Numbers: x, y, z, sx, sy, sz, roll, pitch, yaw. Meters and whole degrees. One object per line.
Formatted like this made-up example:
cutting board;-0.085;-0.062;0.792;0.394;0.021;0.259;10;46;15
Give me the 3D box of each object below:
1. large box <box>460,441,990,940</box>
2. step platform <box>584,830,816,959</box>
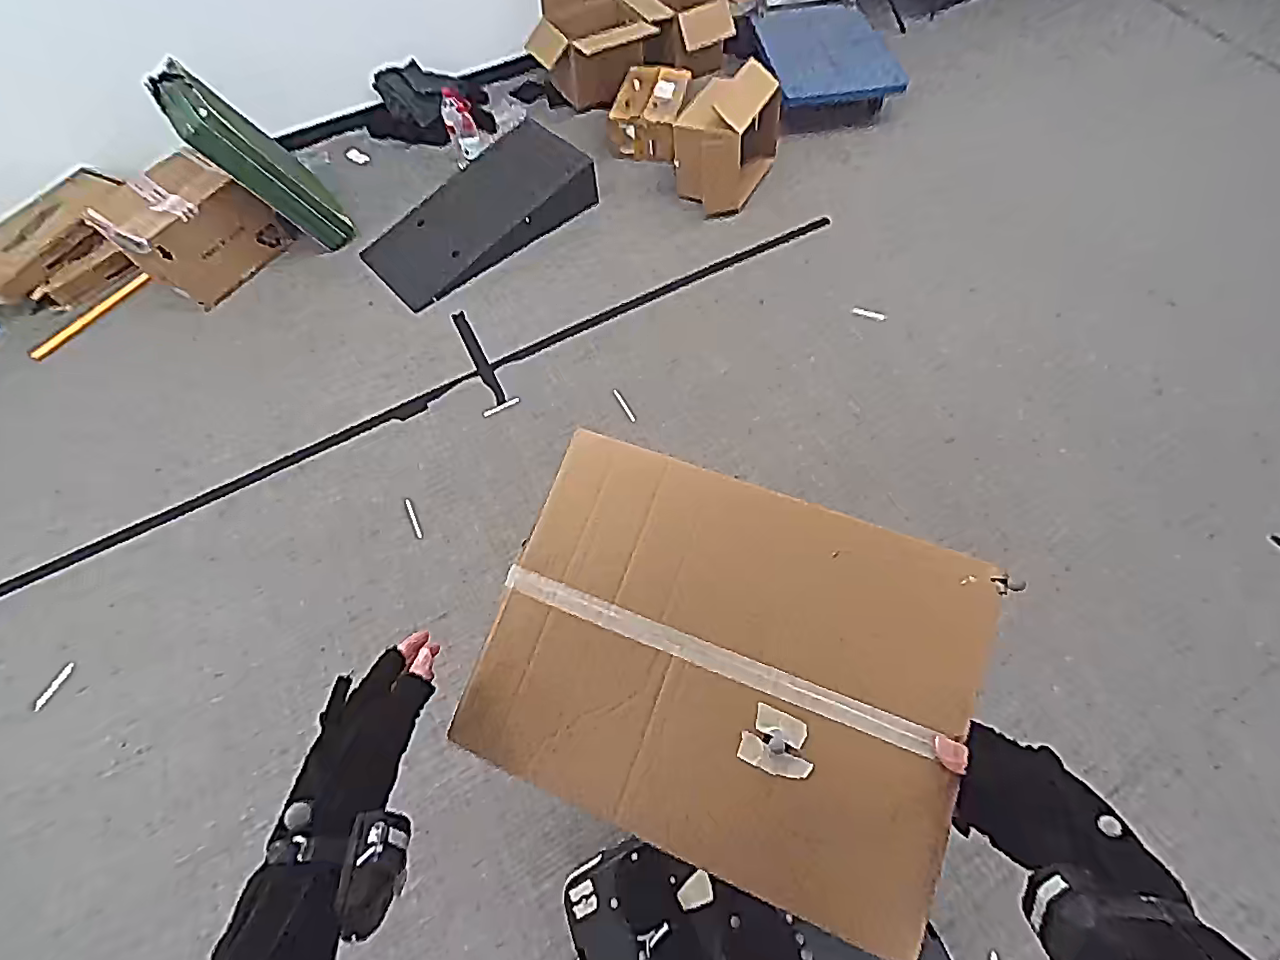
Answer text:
large box;0.087;0.191;0.619;0.408;0.320;0.320;18;79;12
step platform;0.219;0.842;1.217;0.684;0.204;0.286;-27;63;-11
